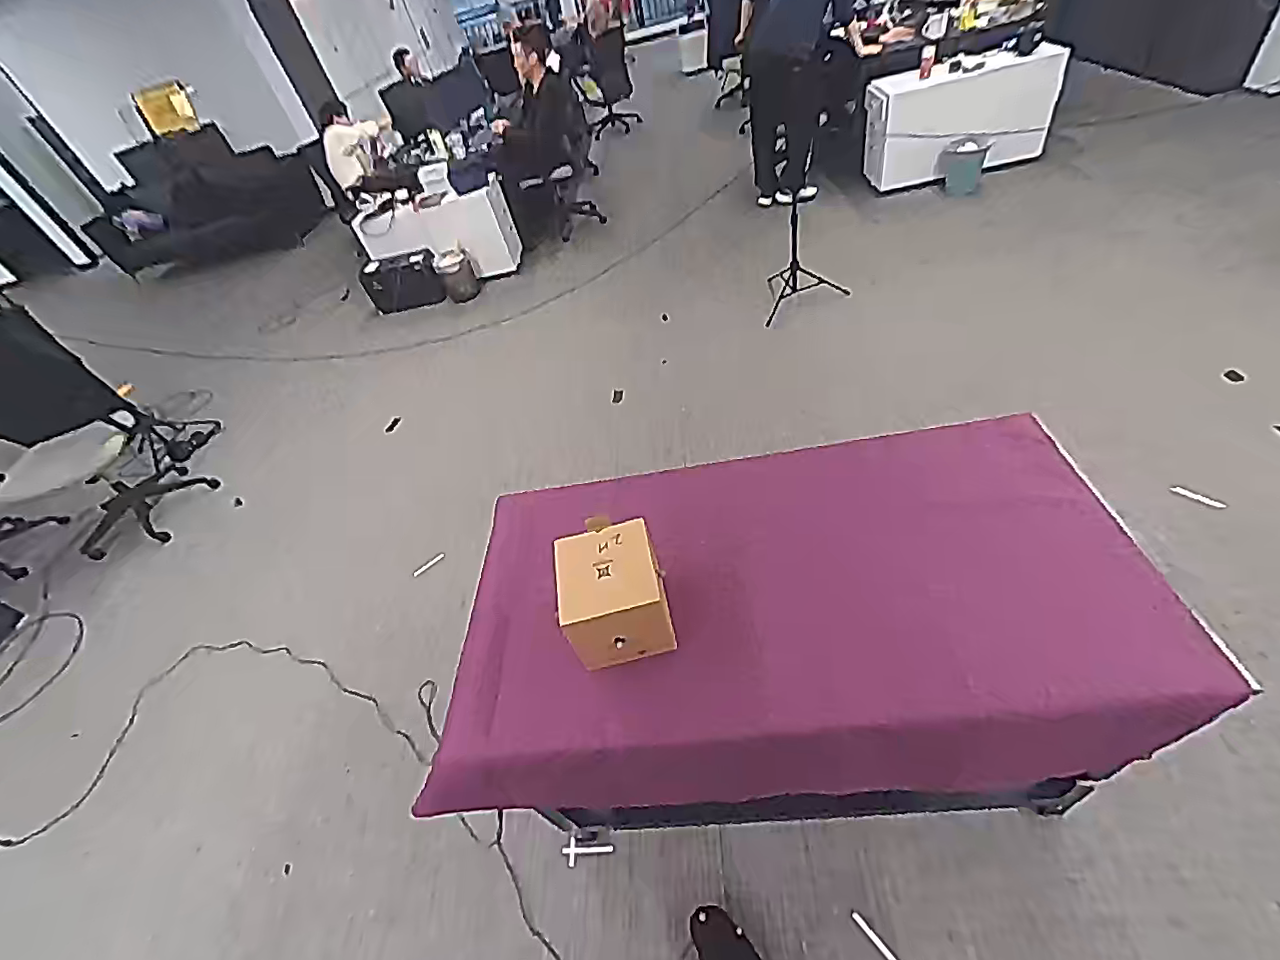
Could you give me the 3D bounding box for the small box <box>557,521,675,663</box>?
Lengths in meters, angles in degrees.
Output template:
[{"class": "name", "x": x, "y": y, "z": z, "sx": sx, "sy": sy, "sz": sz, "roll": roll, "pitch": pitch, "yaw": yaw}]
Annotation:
[{"class": "small box", "x": -0.042, "y": 0.205, "z": 0.958, "sx": 0.168, "sy": 0.176, "sz": 0.179, "roll": -14, "pitch": 44, "yaw": 2}]
